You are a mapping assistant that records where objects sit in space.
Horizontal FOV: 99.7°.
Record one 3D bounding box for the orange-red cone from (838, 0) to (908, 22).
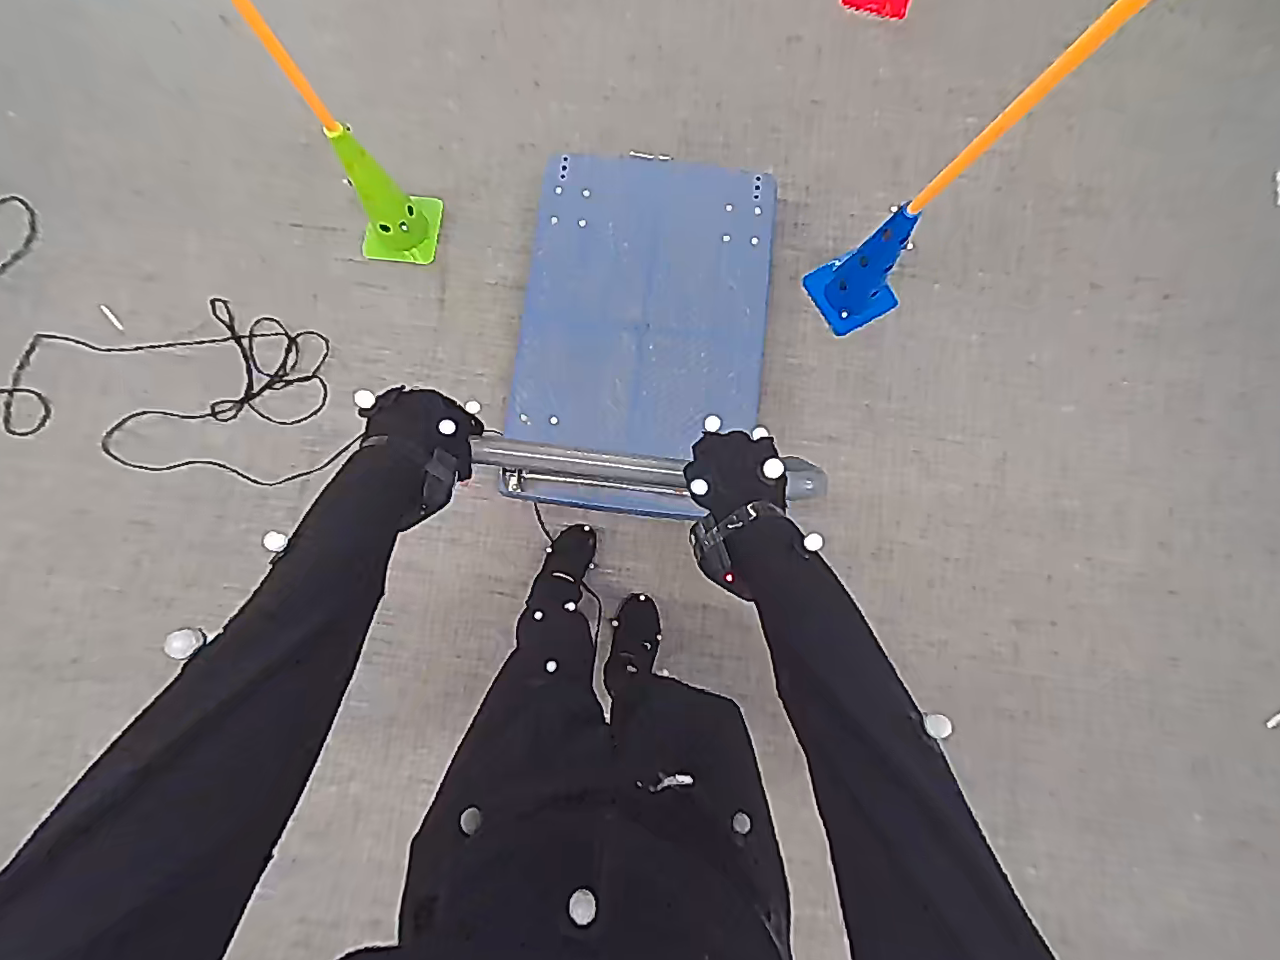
[{"bbox_3d":[0.705,-1.497,1.451,0.198,0.360,0.199,18,83,4],"label":"orange-red cone"}]
